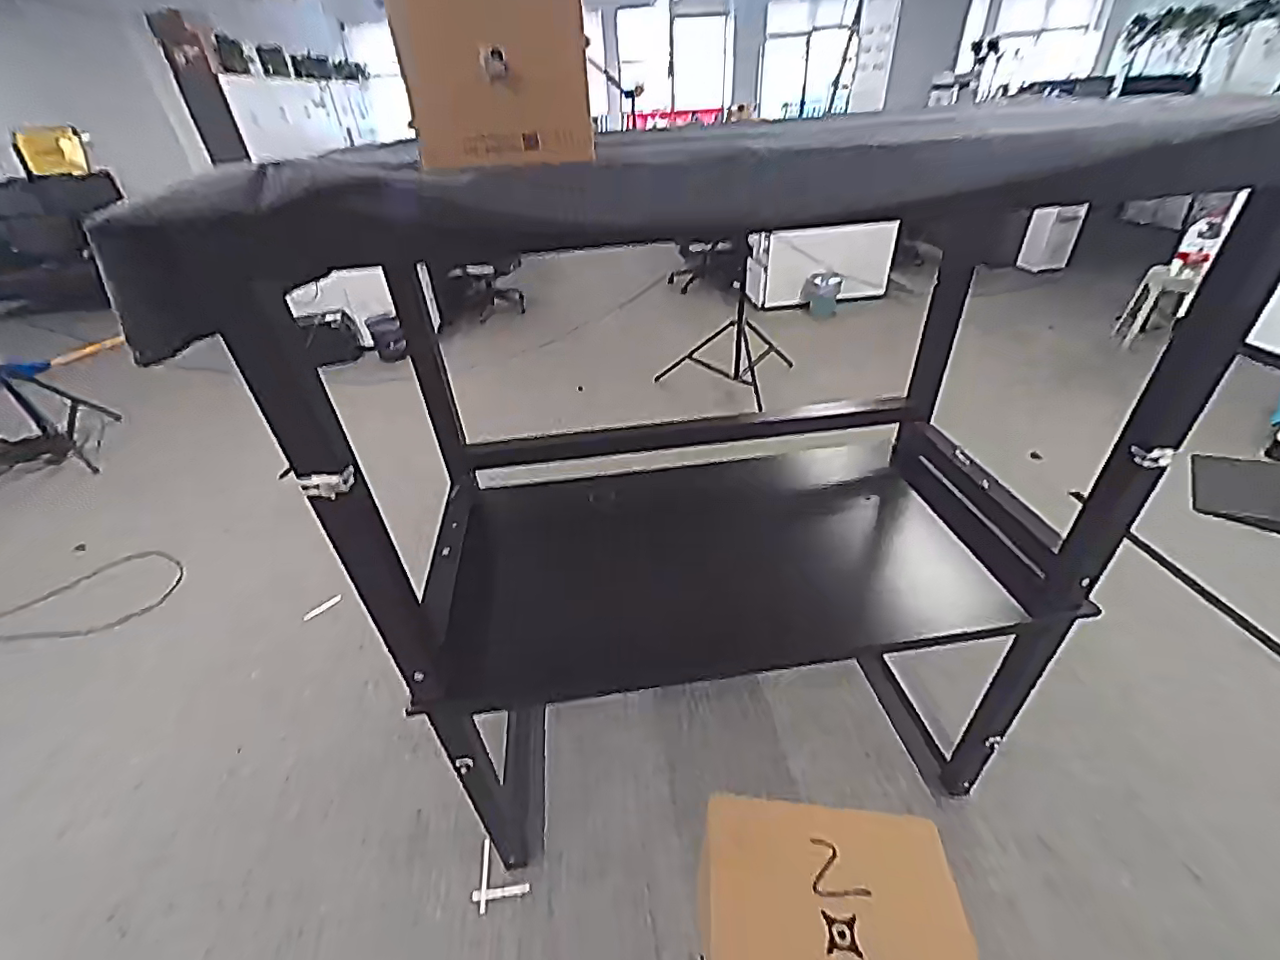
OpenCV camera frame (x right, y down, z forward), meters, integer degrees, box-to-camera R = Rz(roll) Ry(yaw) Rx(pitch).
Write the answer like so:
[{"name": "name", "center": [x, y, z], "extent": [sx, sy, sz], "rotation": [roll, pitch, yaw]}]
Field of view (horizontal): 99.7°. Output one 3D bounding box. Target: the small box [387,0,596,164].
[{"name": "small box", "center": [-0.140, -0.418, 0.537], "extent": [0.168, 0.176, 0.179], "rotation": [-8, 35, -8]}]
